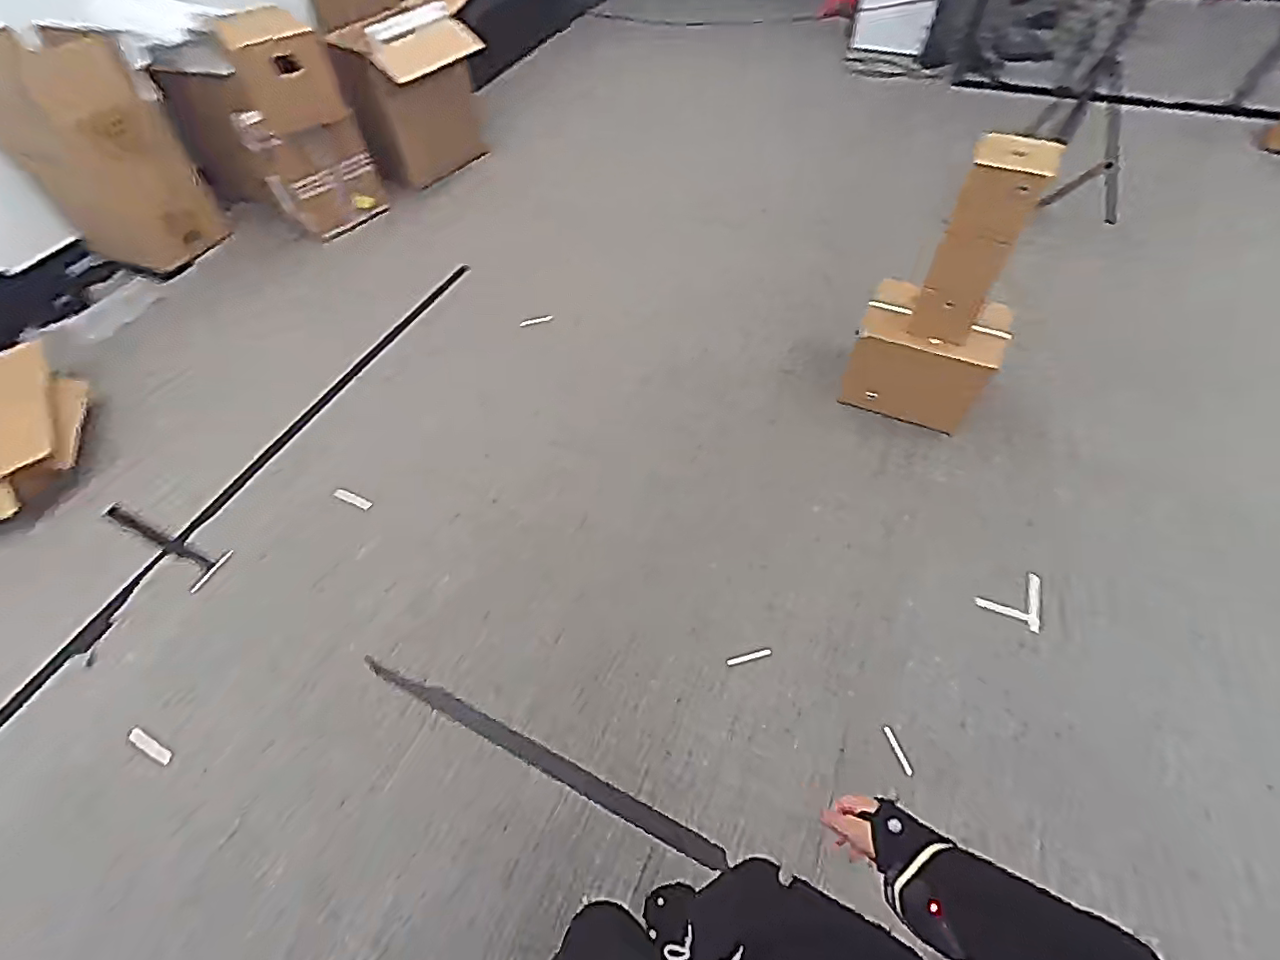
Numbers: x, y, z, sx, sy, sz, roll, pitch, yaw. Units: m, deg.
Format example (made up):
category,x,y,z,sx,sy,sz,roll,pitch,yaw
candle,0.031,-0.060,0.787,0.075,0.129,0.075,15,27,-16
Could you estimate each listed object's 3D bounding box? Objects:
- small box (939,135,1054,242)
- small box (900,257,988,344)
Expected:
category,x,y,z,sx,sy,sz,roll,pitch,yaw
small box,0.883,-0.722,1.349,0.179,0.176,0.168,22,60,18
small box,0.905,-0.534,1.619,0.179,0.176,0.168,19,60,15
